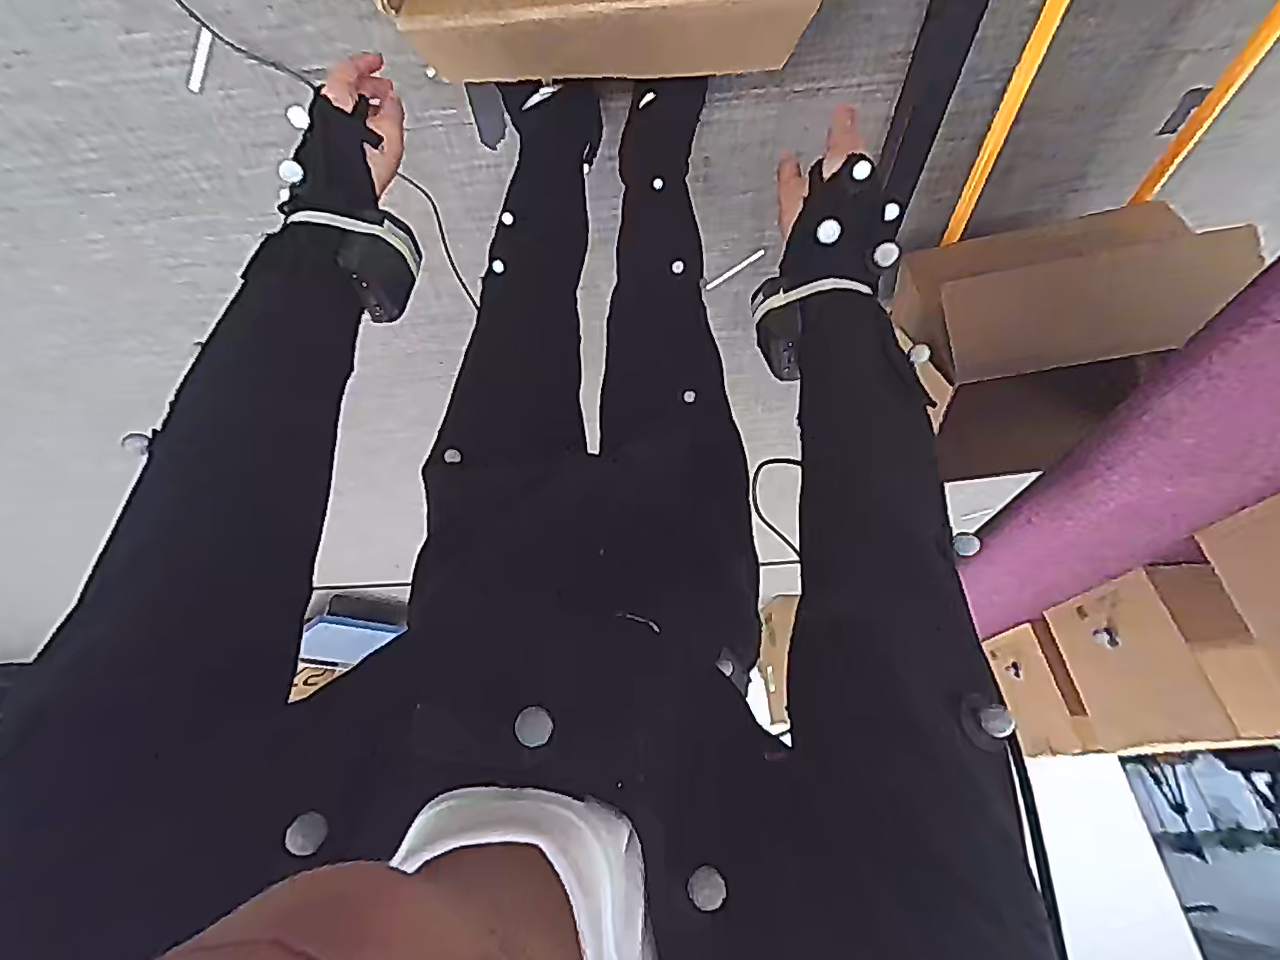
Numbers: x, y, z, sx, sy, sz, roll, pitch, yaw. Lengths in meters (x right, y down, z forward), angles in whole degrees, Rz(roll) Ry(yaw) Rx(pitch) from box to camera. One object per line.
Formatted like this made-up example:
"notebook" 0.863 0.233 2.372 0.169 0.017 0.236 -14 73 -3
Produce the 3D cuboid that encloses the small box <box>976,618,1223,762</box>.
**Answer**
"small box" 0.626 0.299 0.767 0.179 0.176 0.168 -2 149 -1

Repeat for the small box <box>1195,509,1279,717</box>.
"small box" 0.596 0.112 0.420 0.168 0.176 0.179 28 164 36
